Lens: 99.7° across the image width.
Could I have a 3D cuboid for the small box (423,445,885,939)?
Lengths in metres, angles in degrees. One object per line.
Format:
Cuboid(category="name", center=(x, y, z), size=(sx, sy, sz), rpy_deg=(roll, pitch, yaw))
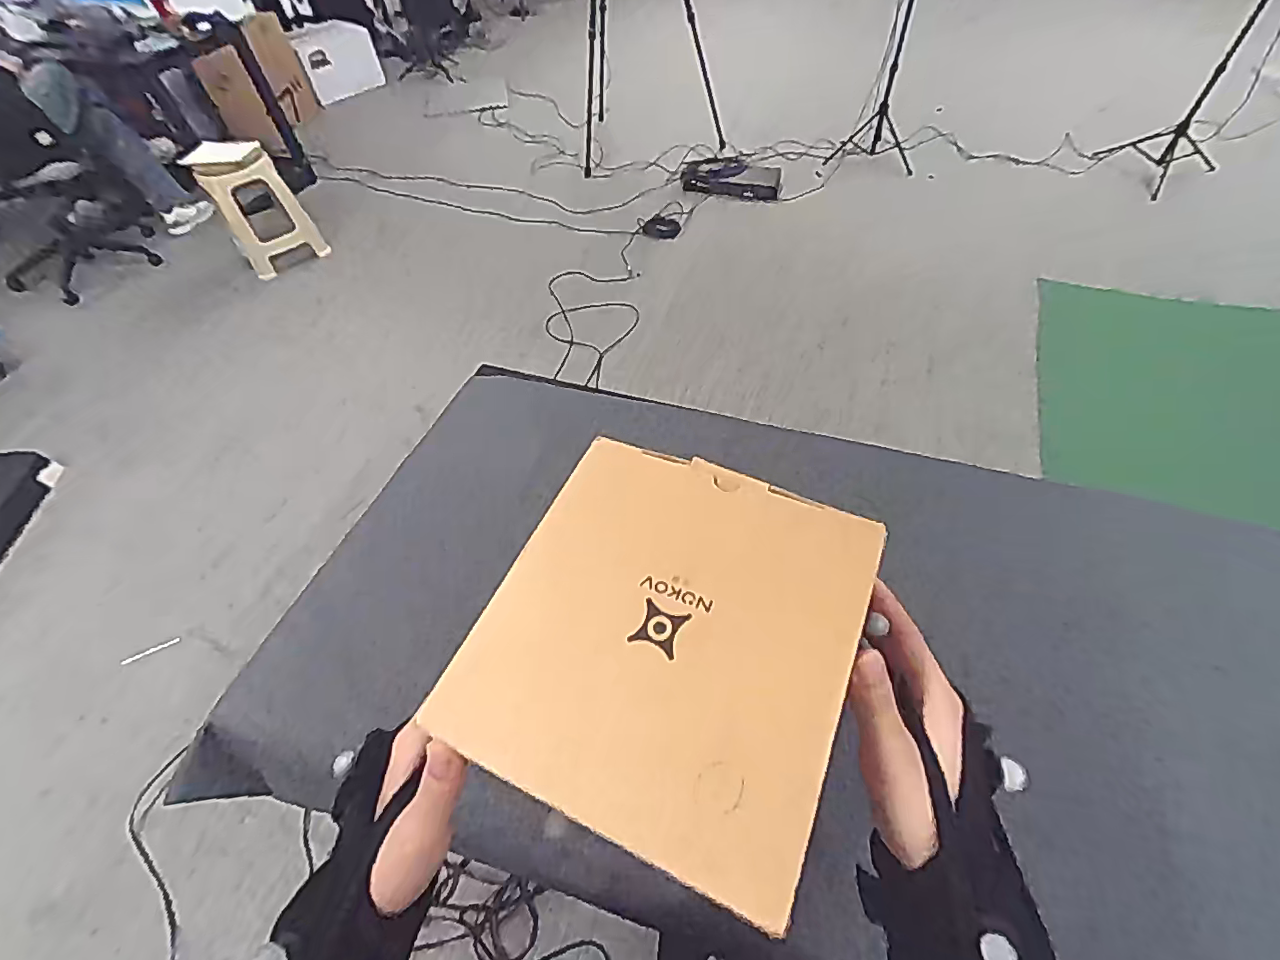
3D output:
Cuboid(category="small box", center=(0.021, 0.114, 0.314), size=(0.168, 0.176, 0.179), rpy_deg=(18, 58, 19))
